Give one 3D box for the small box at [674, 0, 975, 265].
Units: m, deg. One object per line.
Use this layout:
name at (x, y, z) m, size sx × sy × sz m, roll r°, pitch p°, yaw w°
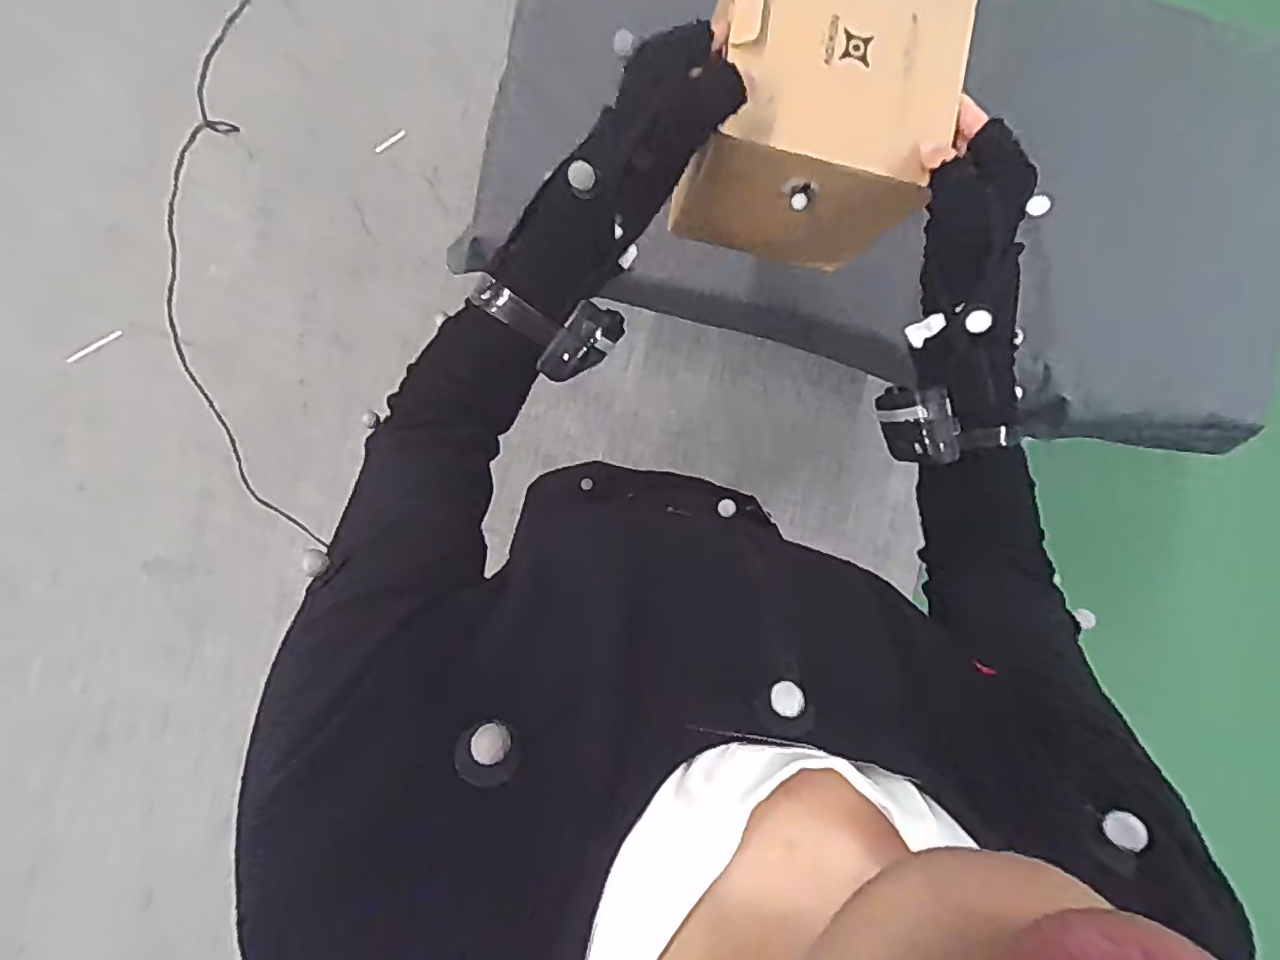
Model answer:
small box at (0.136, -0.302, 0.456) m, size 0.179 × 0.176 × 0.168 m, roll 9°, pitch 91°, yaw -10°
